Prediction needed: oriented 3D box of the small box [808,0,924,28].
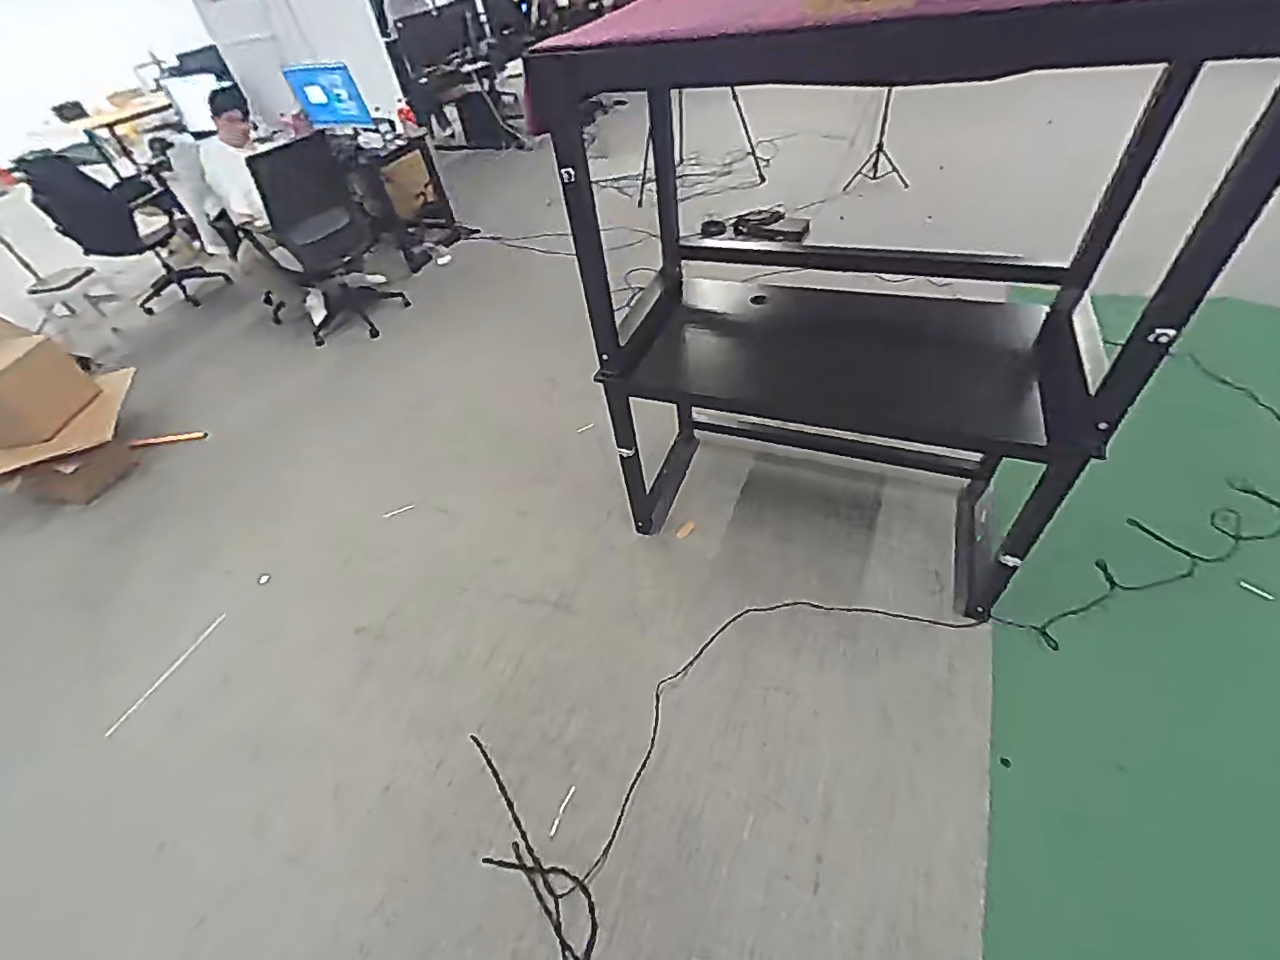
[{"bbox_3d":[0.370,-0.837,0.854,0.168,0.176,0.179,14,50,24],"label":"small box"}]
